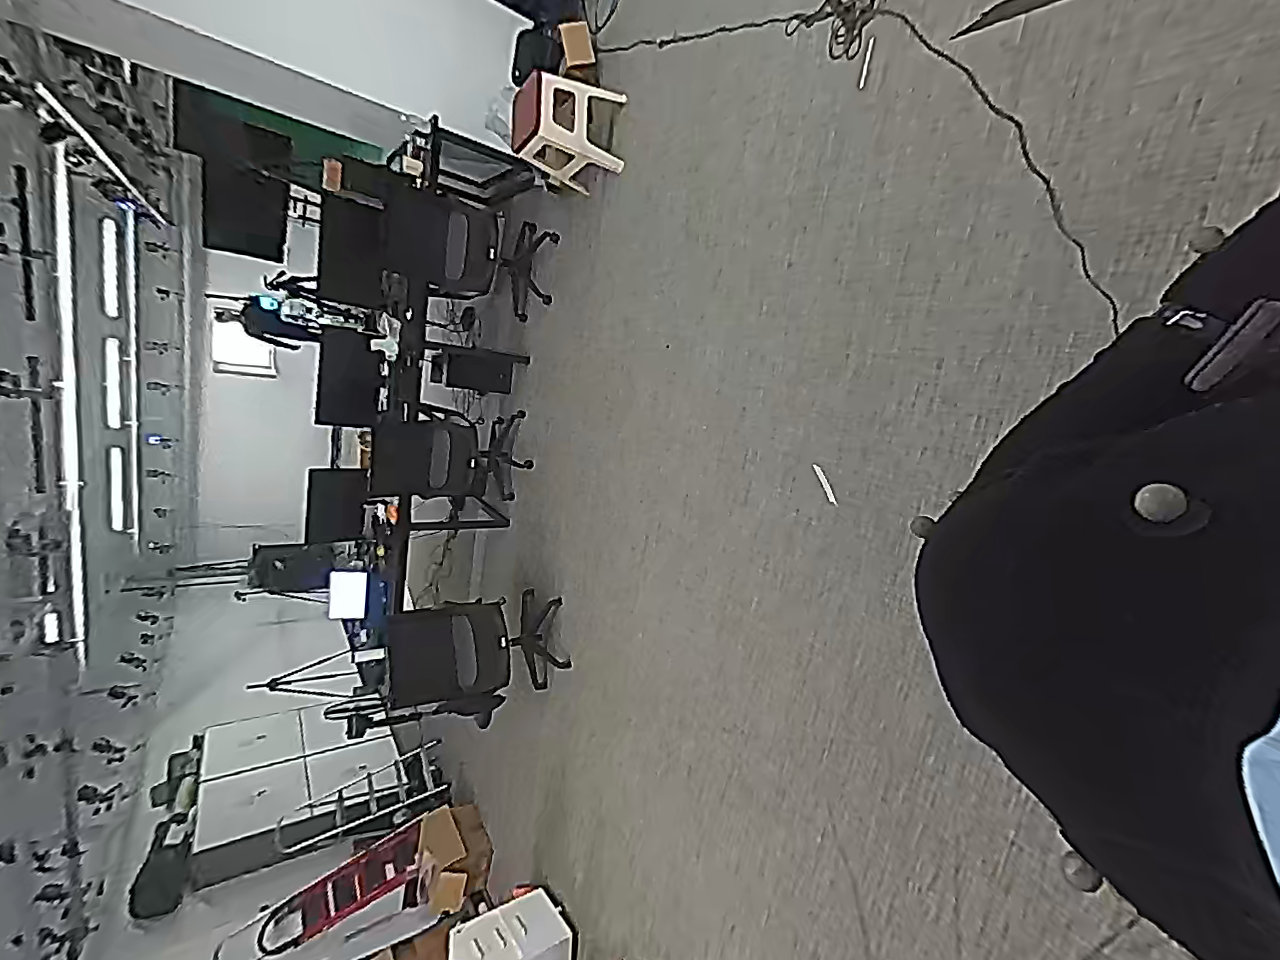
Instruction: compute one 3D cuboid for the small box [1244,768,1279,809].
[{"bbox_3d":[1.137,0.631,0.920,0.168,0.176,0.179,21,107,52],"label":"small box"}]
